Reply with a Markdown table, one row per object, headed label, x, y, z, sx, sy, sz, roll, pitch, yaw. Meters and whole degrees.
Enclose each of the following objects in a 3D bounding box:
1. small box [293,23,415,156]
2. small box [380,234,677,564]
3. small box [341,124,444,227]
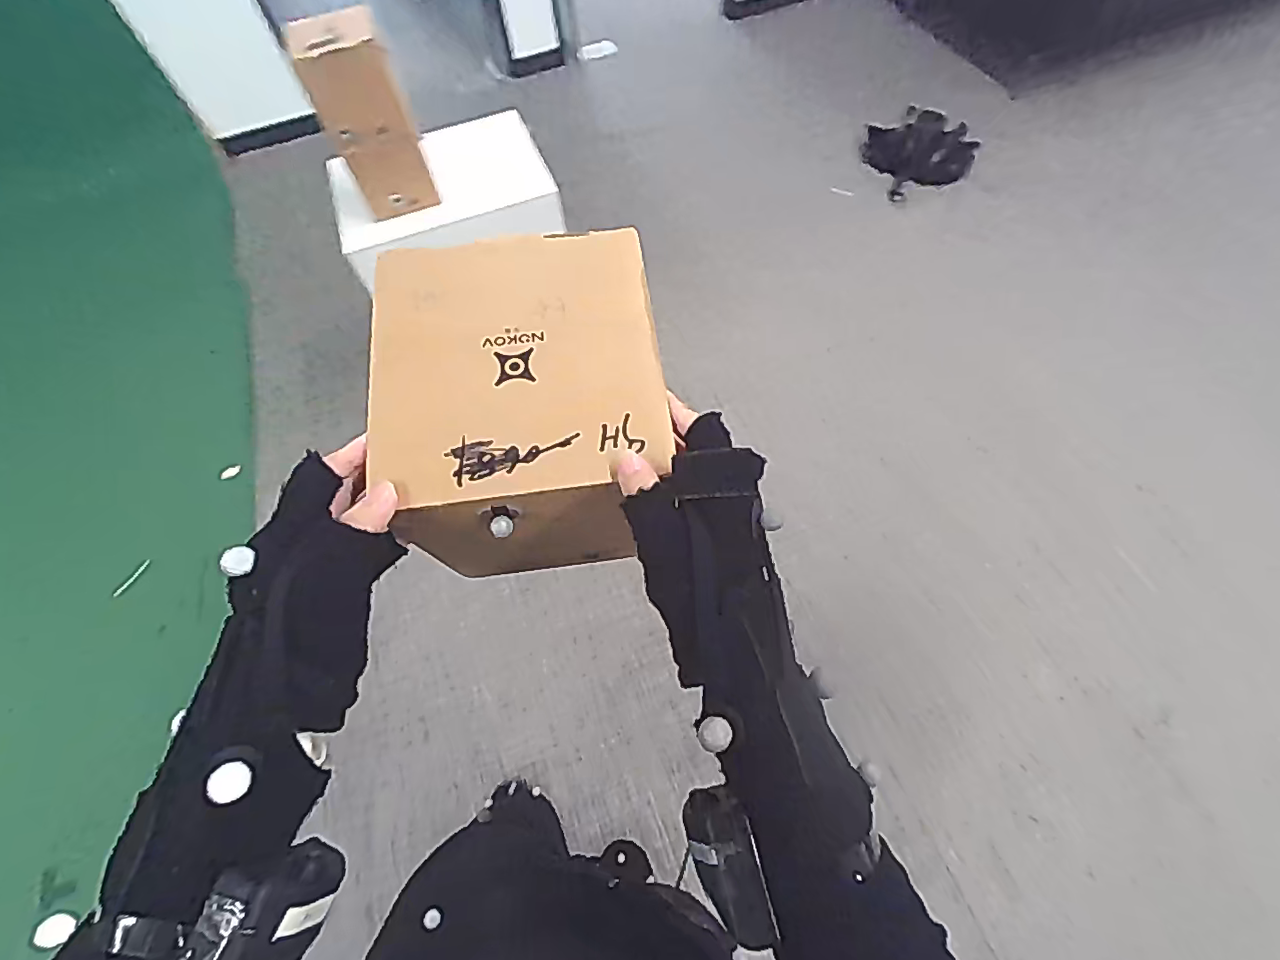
| label | x | y | z | sx | sy | sz | roll | pitch | yaw |
| --- | --- | --- | --- | --- | --- | --- | --- | --- | --- |
| small box | -0.590 | -0.803 | 1.129 | 0.168 | 0.176 | 0.179 | -20 | 60 | -6 |
| small box | -0.068 | -0.049 | 0.403 | 0.168 | 0.176 | 0.179 | -6 | 67 | -2 |
| small box | -0.580 | -0.728 | 1.257 | 0.168 | 0.176 | 0.179 | -22 | 63 | -8 |
